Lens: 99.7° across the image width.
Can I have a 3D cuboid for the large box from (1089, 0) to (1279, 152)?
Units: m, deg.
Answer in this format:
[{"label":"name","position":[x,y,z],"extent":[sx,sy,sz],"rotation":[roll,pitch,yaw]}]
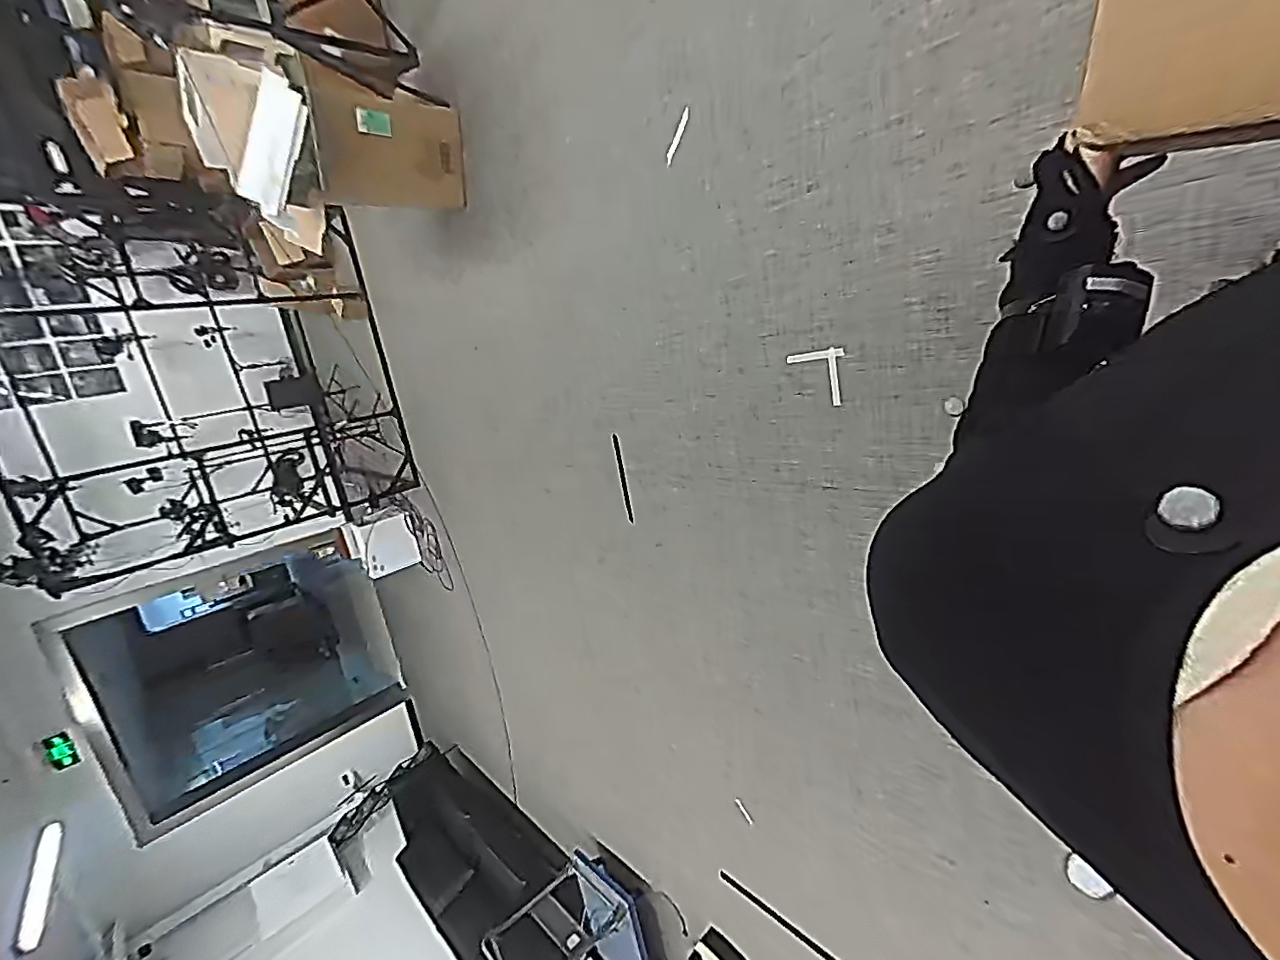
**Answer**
[{"label":"large box","position":[0.426,-0.314,0.157],"extent":[0.408,0.320,0.320],"rotation":[15,123,39]}]
